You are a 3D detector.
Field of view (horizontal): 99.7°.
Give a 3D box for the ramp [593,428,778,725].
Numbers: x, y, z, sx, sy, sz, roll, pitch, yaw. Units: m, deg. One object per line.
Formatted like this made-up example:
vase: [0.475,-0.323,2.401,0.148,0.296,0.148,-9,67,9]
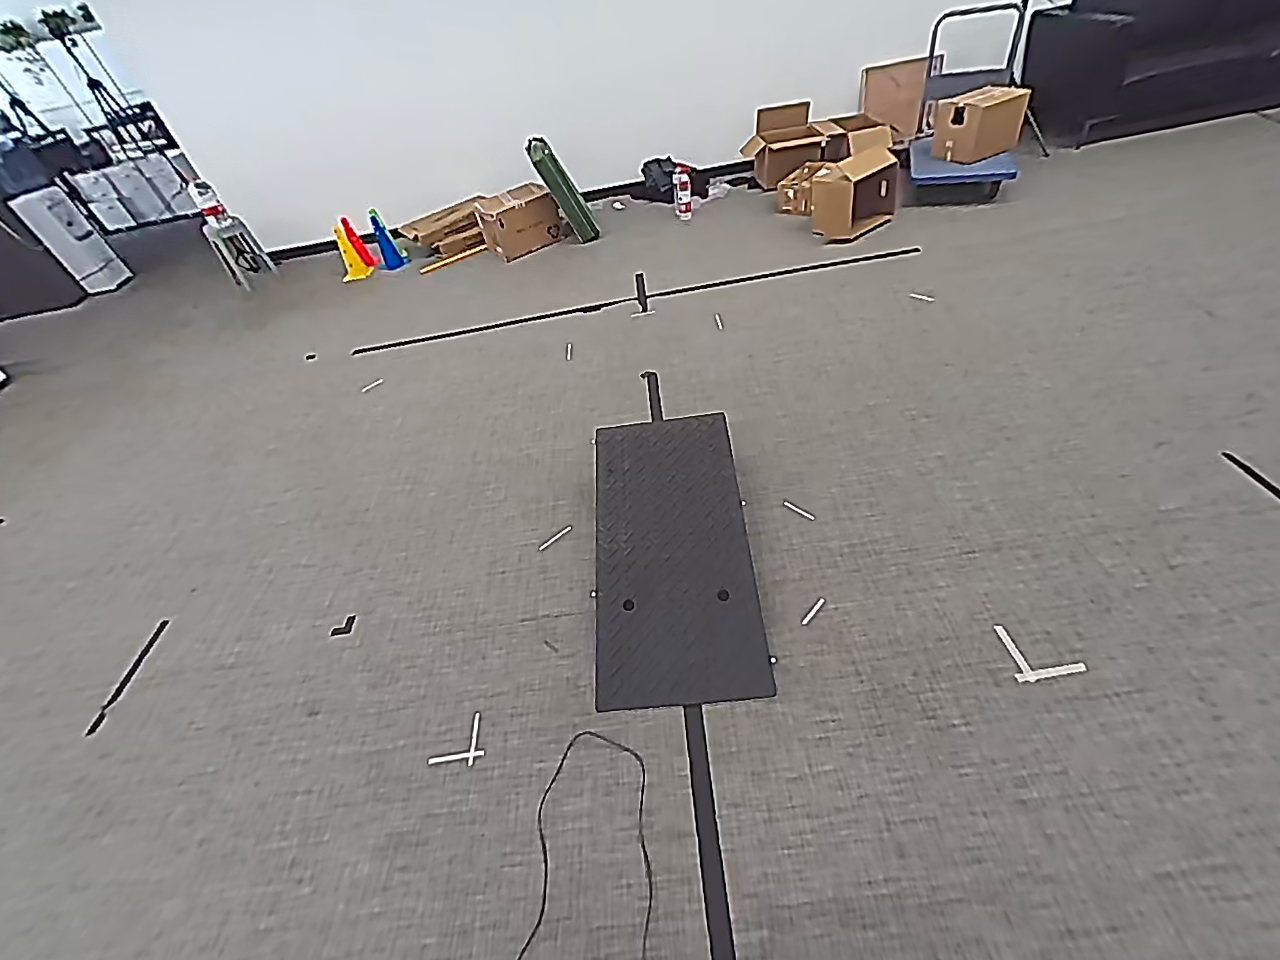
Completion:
ramp: [0.100,0.240,1.755,0.509,0.206,0.991,-9,43,3]
